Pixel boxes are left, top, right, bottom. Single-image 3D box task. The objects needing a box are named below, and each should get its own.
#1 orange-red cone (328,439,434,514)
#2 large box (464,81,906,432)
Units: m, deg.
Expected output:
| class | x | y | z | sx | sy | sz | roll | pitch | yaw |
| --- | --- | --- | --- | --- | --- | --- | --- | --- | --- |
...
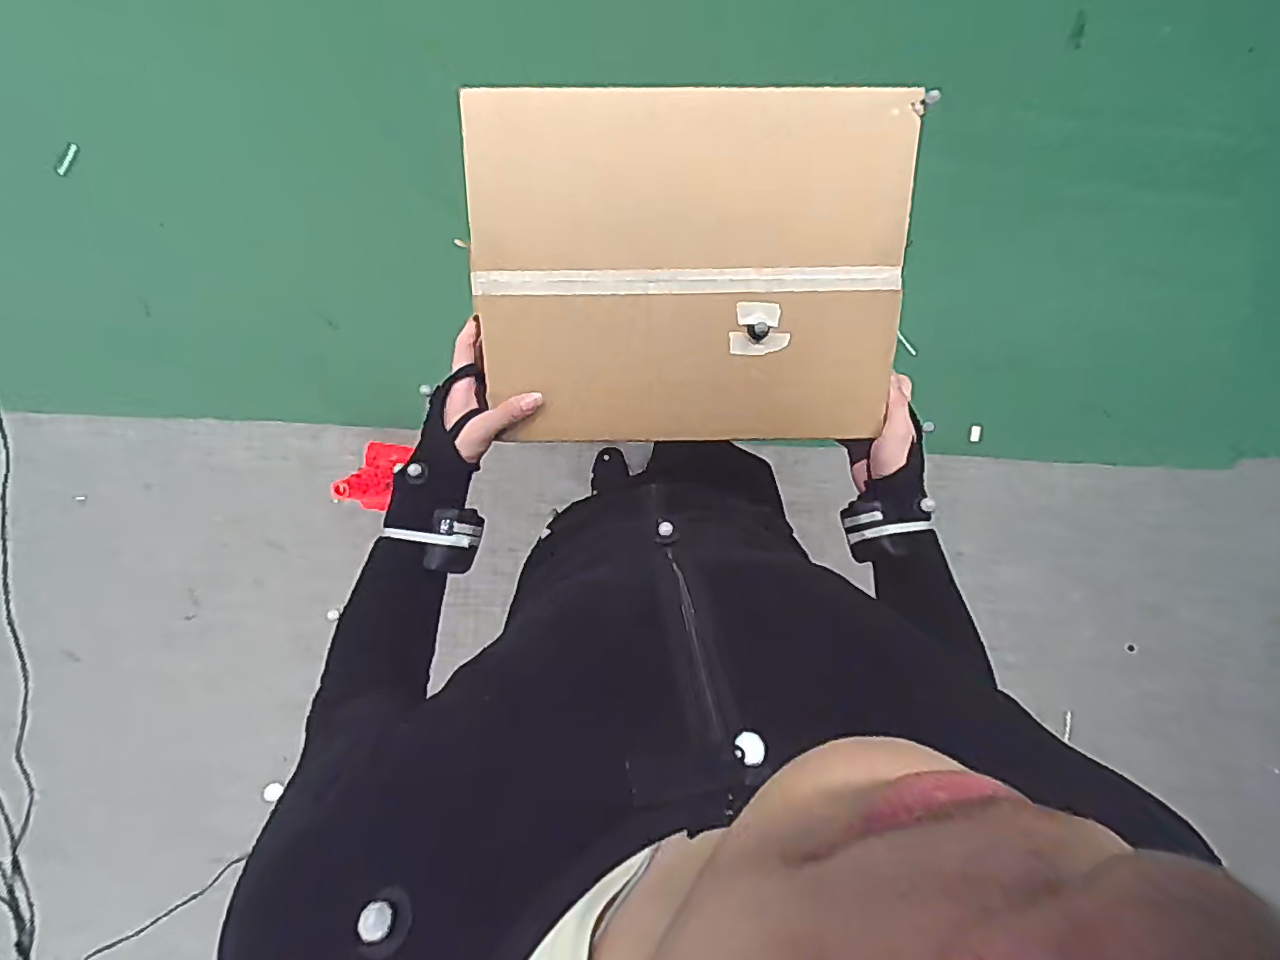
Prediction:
| class | x | y | z | sx | sy | sz | roll | pitch | yaw |
| --- | --- | --- | --- | --- | --- | --- | --- | --- | --- |
| orange-red cone | -0.700 | 0.000 | 1.397 | 0.199 | 0.360 | 0.198 | 10 | 93 | -3 |
| large box | 0.040 | -0.245 | 0.664 | 0.408 | 0.320 | 0.320 | -1 | 107 | -1 |
